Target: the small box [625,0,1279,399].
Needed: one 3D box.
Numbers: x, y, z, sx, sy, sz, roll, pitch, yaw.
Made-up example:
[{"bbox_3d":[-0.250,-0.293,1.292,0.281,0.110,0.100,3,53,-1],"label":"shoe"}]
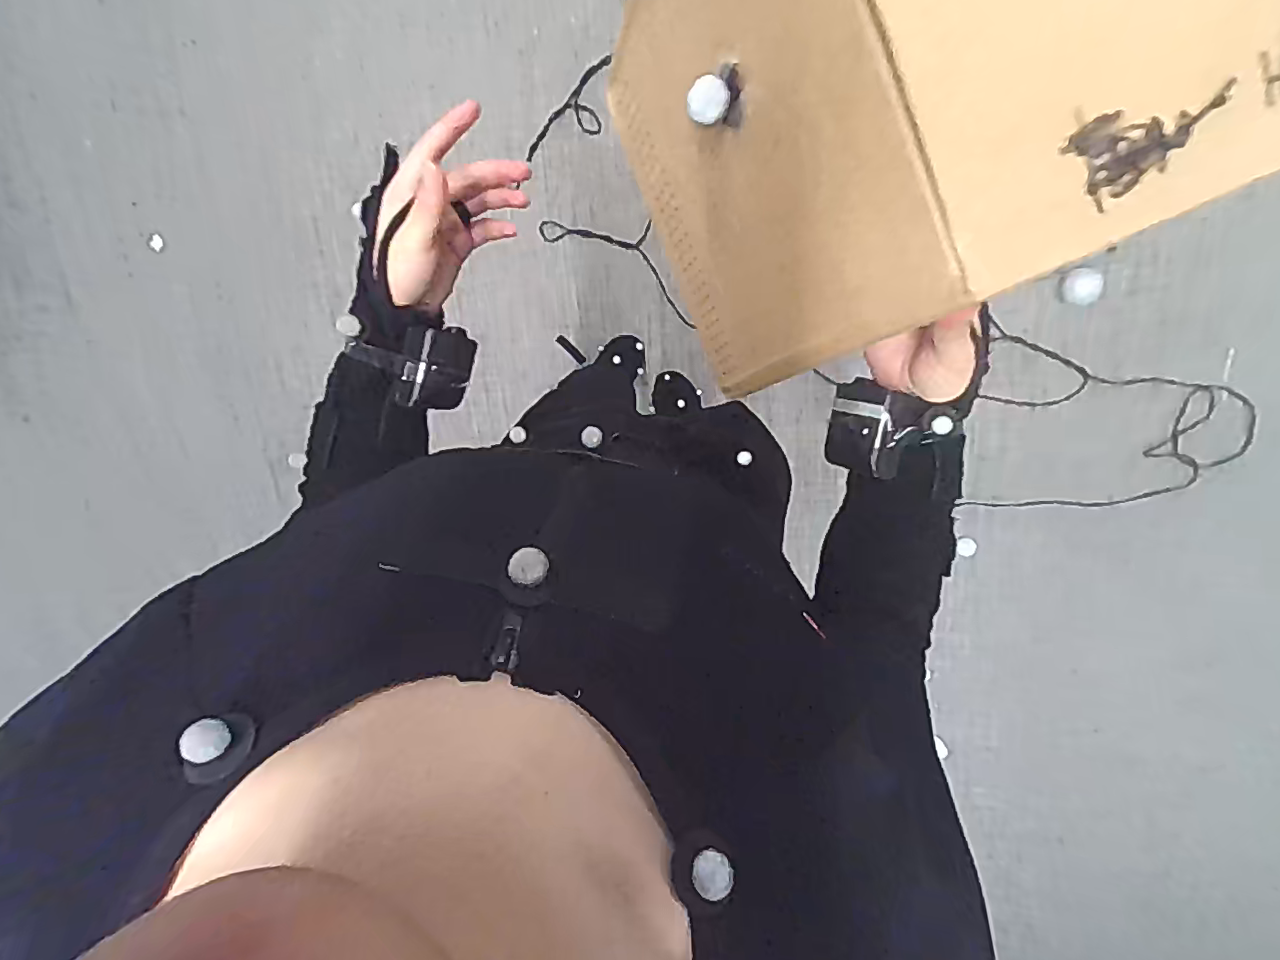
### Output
[{"bbox_3d":[0.108,-0.155,0.241,0.168,0.176,0.179,-25,94,-12],"label":"small box"}]
